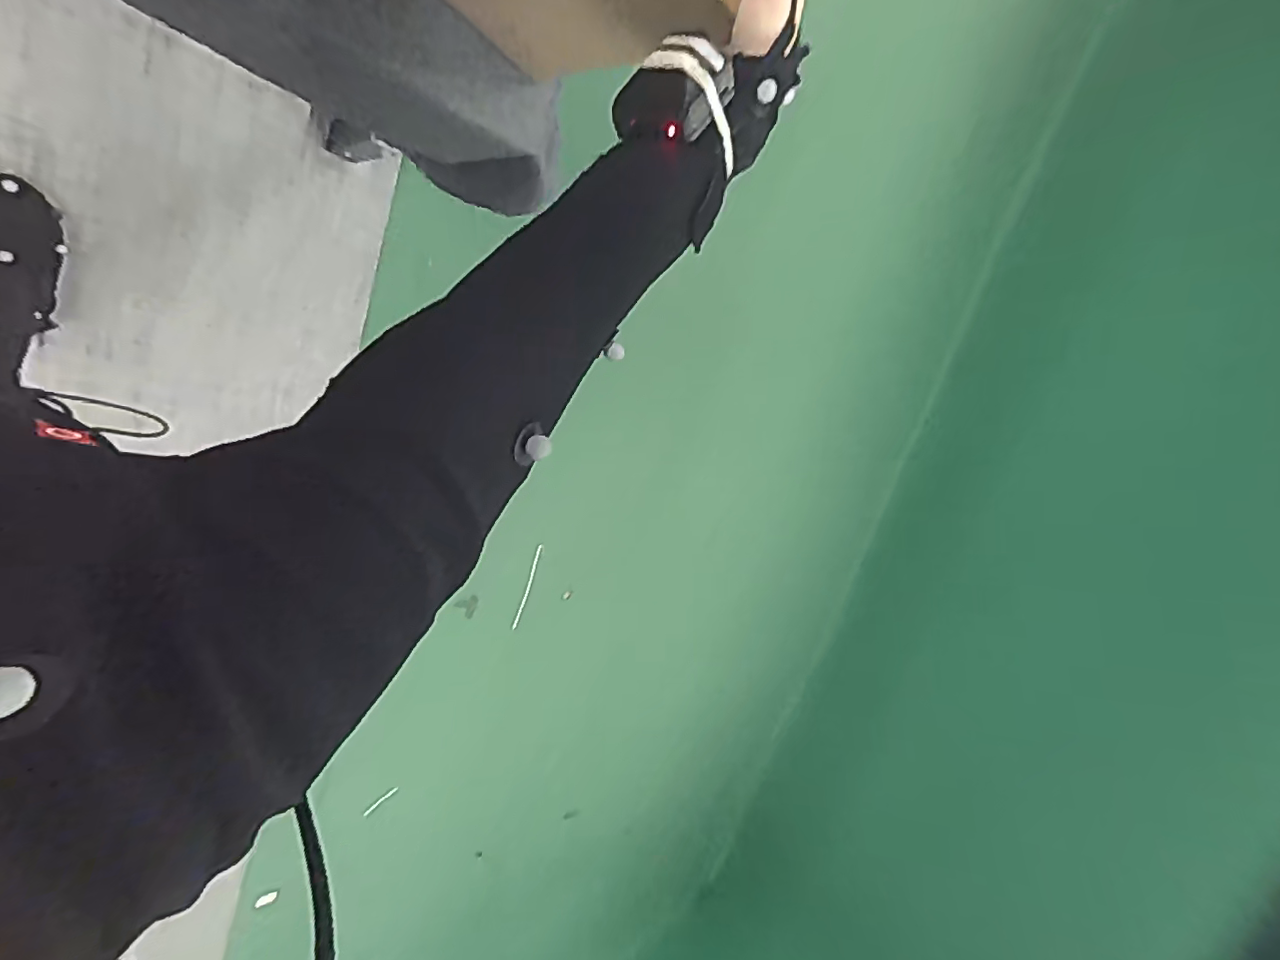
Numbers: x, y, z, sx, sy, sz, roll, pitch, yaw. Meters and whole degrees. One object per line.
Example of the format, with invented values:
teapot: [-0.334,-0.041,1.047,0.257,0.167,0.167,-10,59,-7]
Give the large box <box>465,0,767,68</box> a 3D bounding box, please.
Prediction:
large box: [-0.082,-0.548,0.317,0.408,0.320,0.320,16,104,-47]
